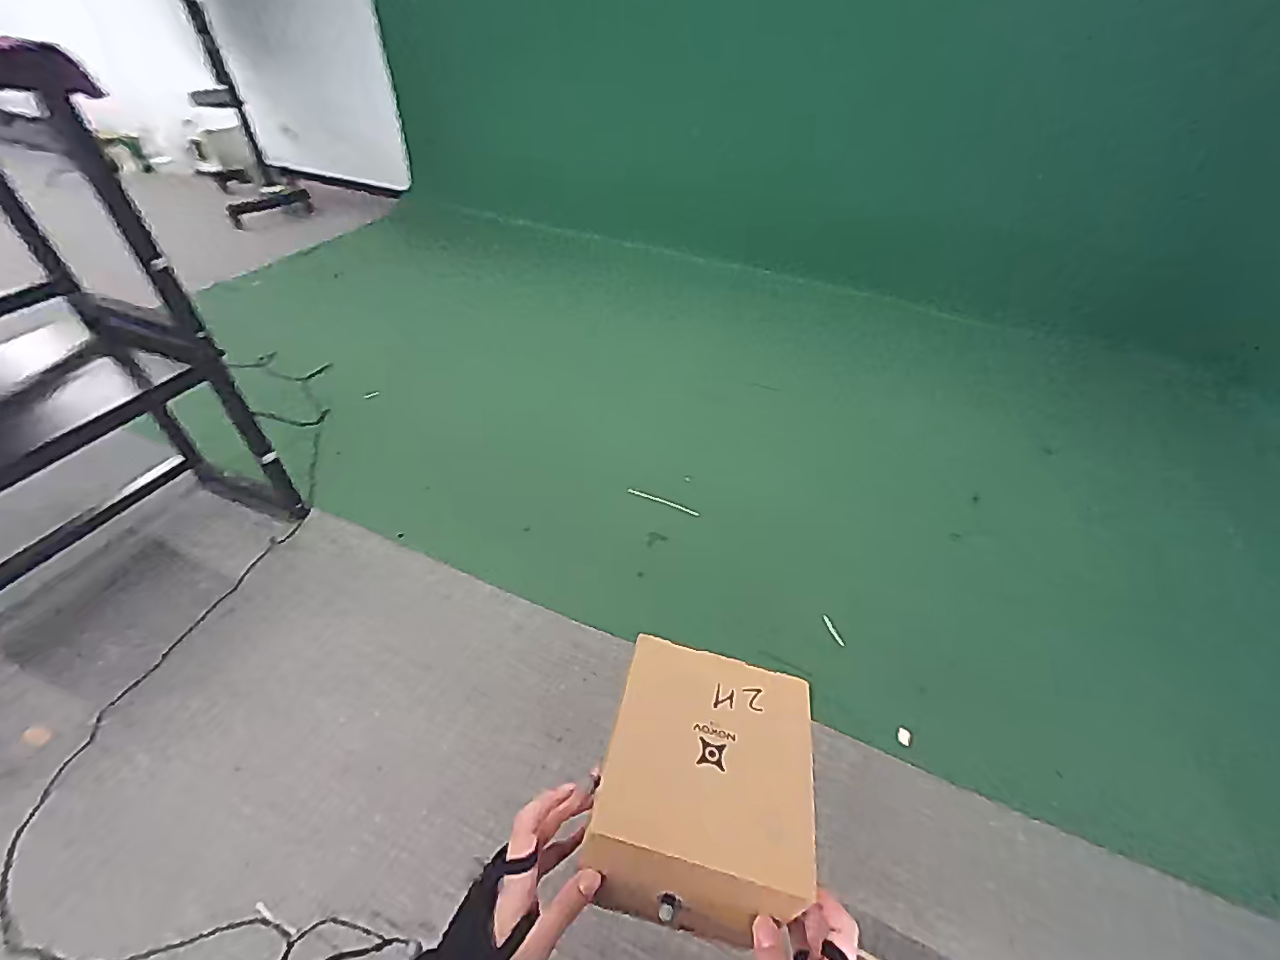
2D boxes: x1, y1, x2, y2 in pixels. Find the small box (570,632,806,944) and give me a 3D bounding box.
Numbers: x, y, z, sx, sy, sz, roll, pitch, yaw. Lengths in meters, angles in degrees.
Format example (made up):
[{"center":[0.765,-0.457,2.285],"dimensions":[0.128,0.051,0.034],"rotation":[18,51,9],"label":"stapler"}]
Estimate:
[{"center":[0.041,0.276,0.488],"dimensions":[0.168,0.176,0.179],"rotation":[16,38,3],"label":"small box"}]
